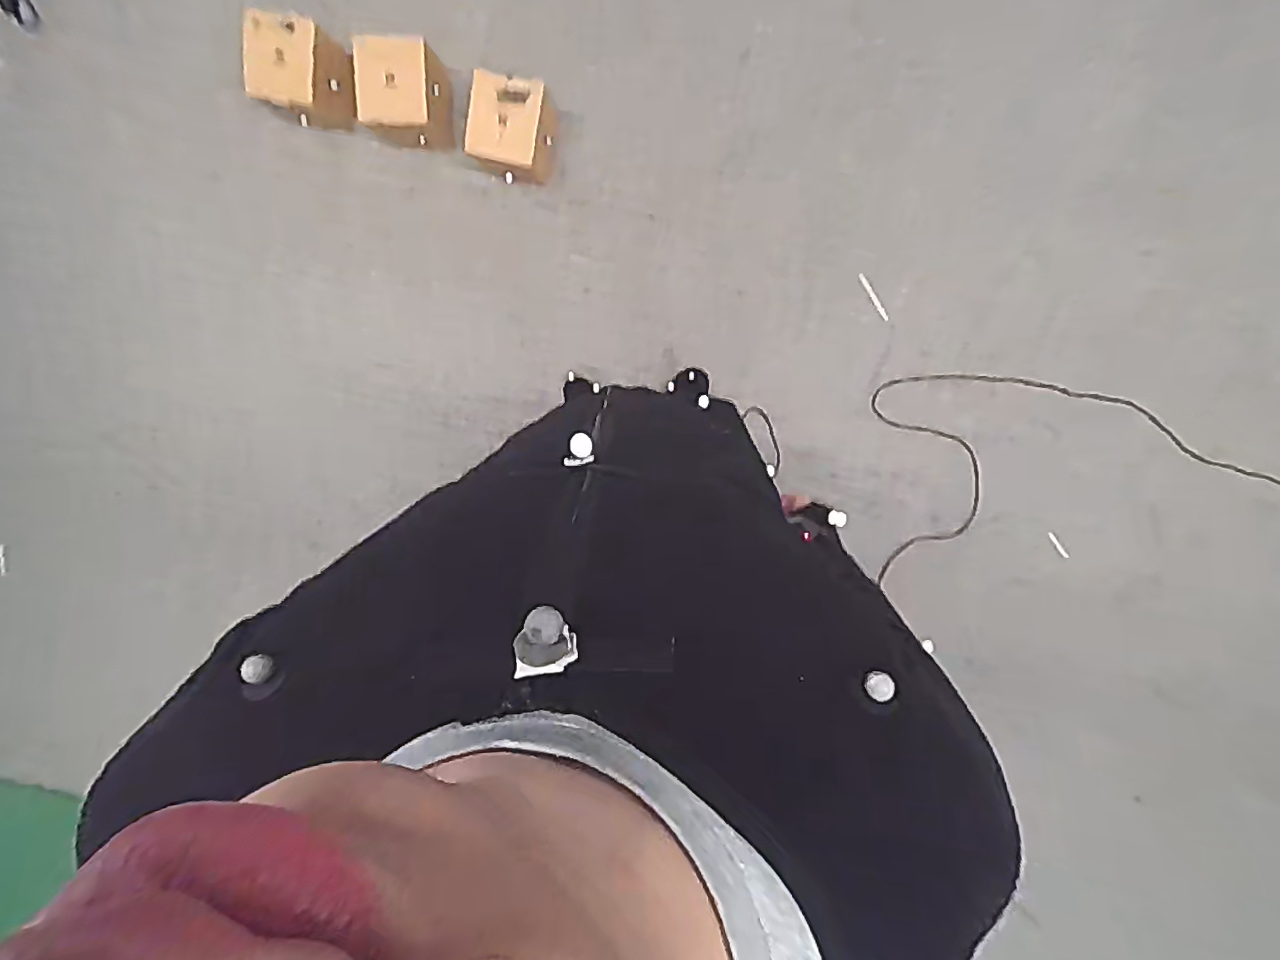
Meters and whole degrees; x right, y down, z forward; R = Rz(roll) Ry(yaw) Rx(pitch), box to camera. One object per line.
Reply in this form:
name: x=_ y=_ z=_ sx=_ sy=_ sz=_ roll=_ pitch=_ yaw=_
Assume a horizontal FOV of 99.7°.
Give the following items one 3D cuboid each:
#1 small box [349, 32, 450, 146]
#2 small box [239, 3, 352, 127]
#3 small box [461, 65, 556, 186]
small box: x=-0.566 y=-0.926 z=1.295 sx=0.168 sy=0.176 sz=0.179 roll=2 pitch=101 yaw=1
small box: x=-0.817 y=-0.981 z=1.296 sx=0.168 sy=0.176 sz=0.179 roll=11 pitch=104 yaw=1
small box: x=-0.307 y=-0.839 z=1.297 sx=0.168 sy=0.176 sz=0.179 roll=14 pitch=104 yaw=1
